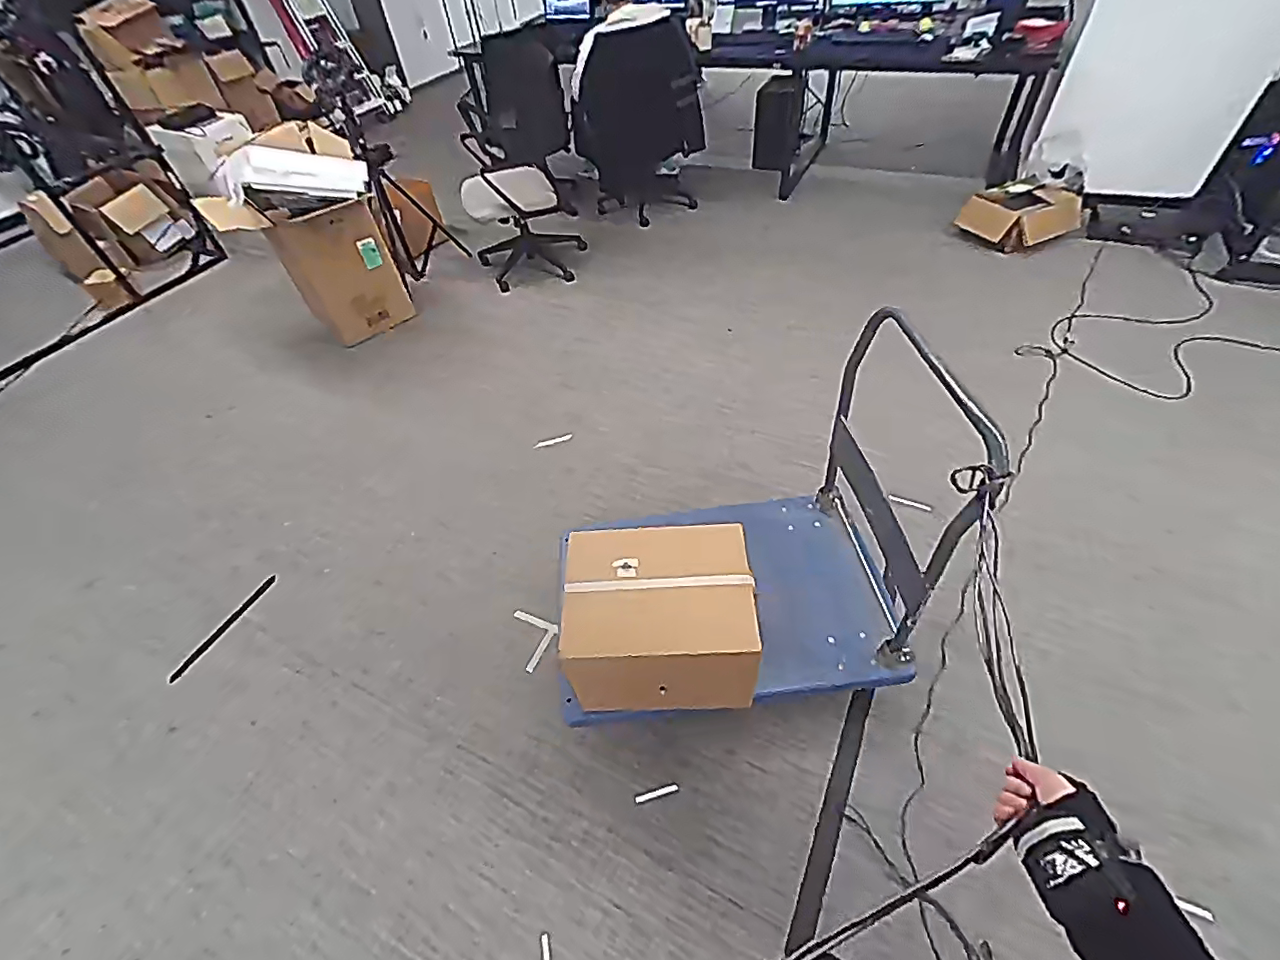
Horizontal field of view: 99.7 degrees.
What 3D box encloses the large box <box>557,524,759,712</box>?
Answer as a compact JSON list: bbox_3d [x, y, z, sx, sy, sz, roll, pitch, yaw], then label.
[{"bbox_3d":[0.046,0.329,1.258,0.408,0.320,0.320,-4,48,4],"label":"large box"}]
